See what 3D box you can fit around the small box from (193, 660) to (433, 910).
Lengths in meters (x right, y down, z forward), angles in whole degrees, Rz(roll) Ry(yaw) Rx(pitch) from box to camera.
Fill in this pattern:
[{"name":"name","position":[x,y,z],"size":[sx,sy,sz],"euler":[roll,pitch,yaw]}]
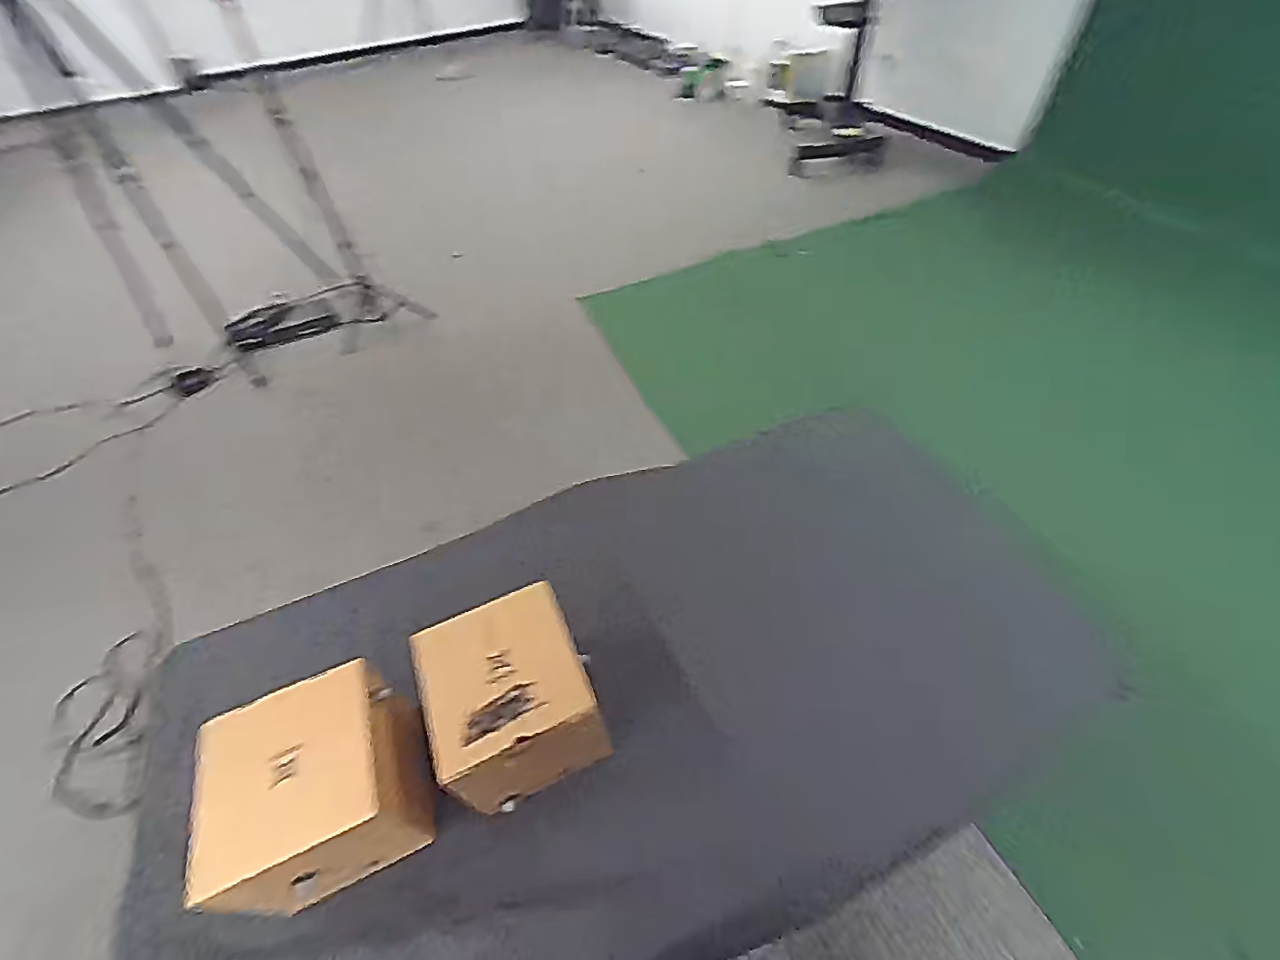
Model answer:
[{"name":"small box","position":[-0.351,0.342,0.607],"size":[0.168,0.176,0.179],"euler":[-22,50,-13]}]
